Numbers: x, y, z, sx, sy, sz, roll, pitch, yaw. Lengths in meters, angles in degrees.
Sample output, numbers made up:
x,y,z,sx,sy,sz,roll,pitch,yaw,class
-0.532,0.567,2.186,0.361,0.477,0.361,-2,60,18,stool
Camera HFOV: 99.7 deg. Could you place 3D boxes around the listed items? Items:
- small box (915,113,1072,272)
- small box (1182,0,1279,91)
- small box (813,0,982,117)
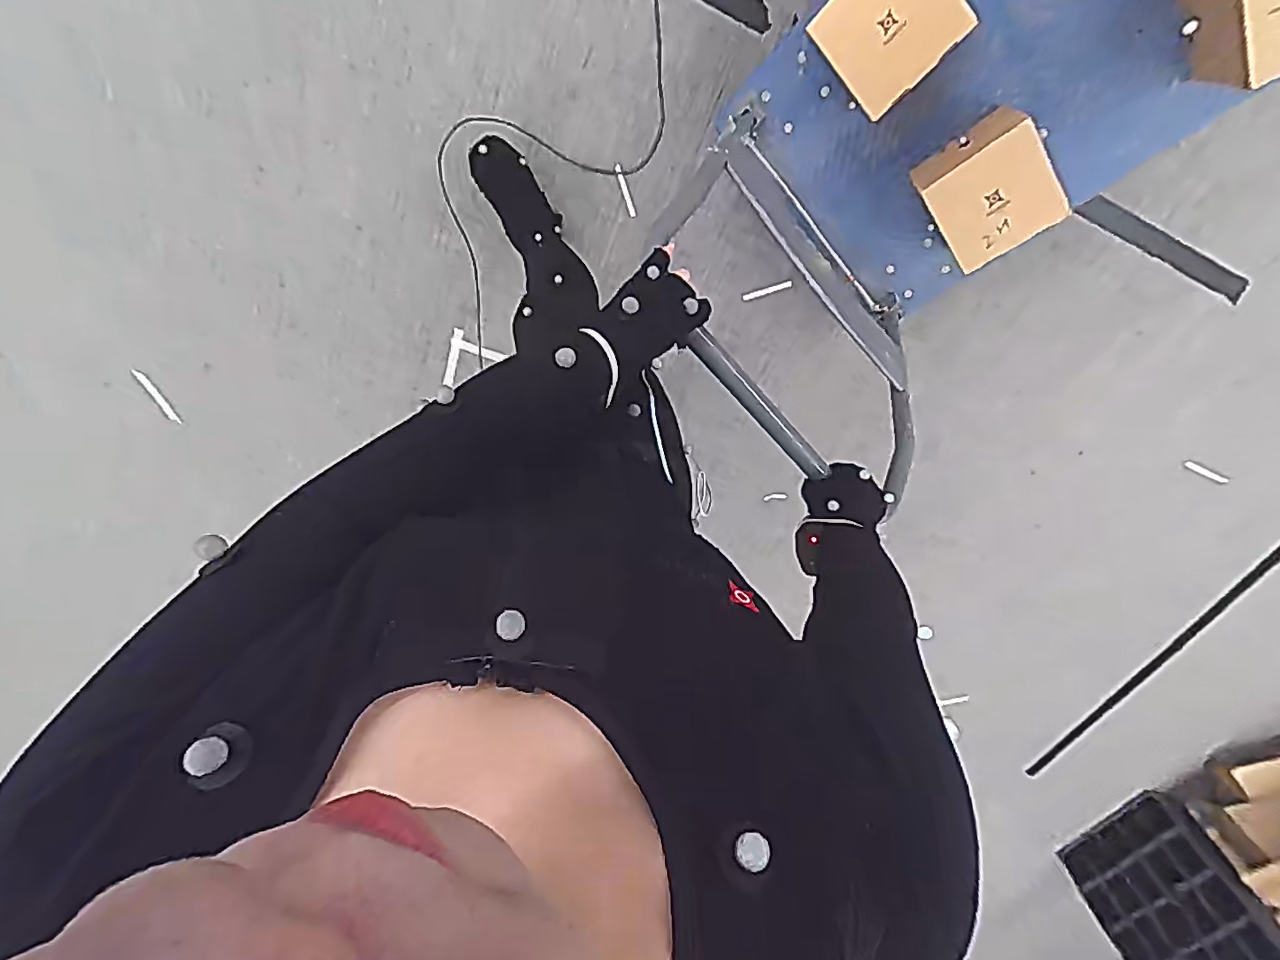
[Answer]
x,y,z,sx,sy,sz,roll,pitch,yaw,class
0.602,-0.504,0.942,0.168,0.176,0.179,-27,116,35,small box
0.878,-0.664,0.718,0.179,0.176,0.168,-20,120,32,small box
0.385,-0.712,0.840,0.179,0.176,0.168,40,129,-18,small box
